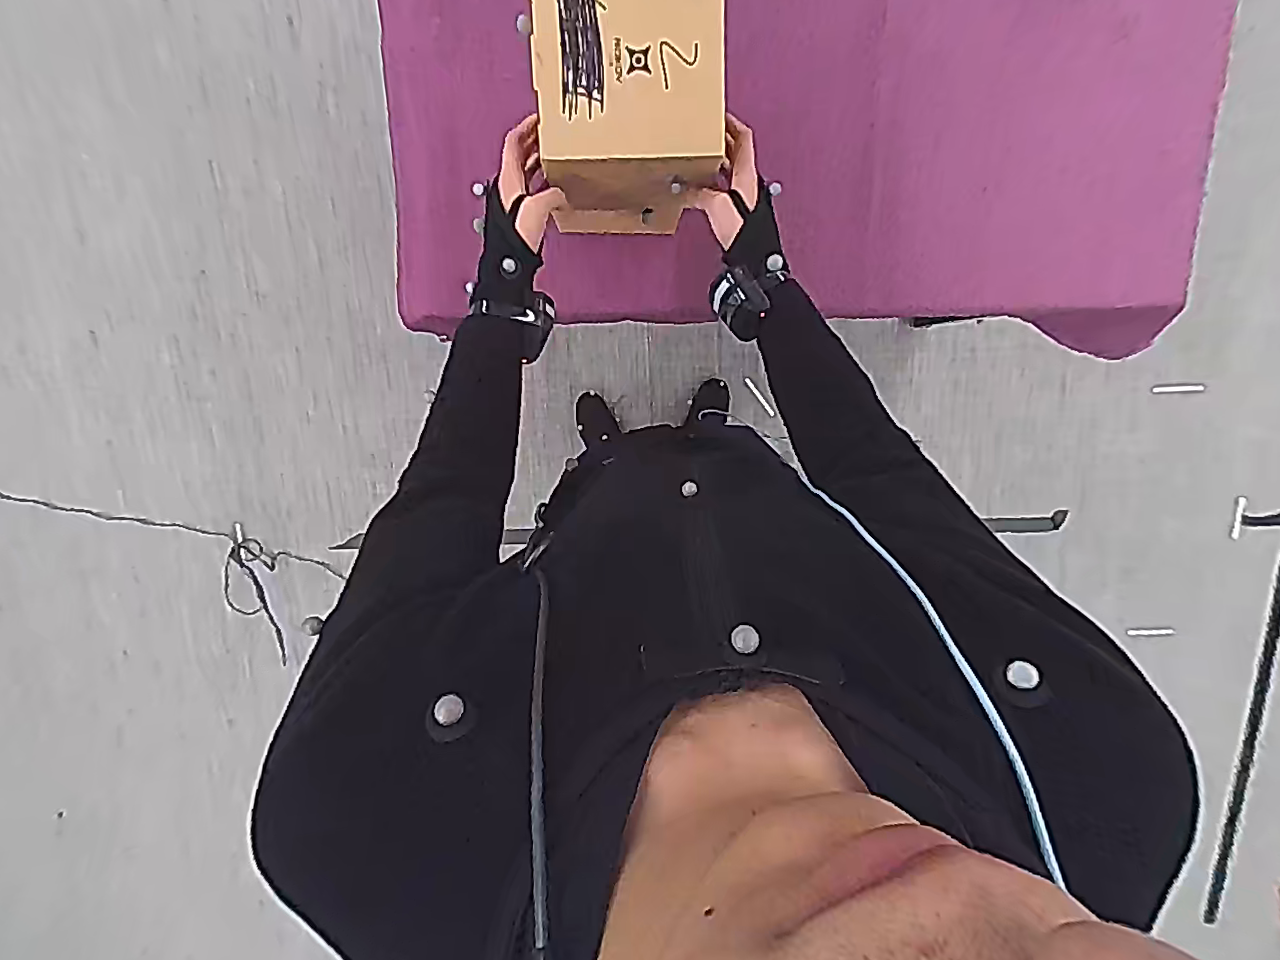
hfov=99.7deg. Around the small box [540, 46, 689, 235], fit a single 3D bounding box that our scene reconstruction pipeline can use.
[{"bbox_3d":[-0.035,-0.434,0.720,0.179,0.176,0.168,0,101,-2],"label":"small box"}]
